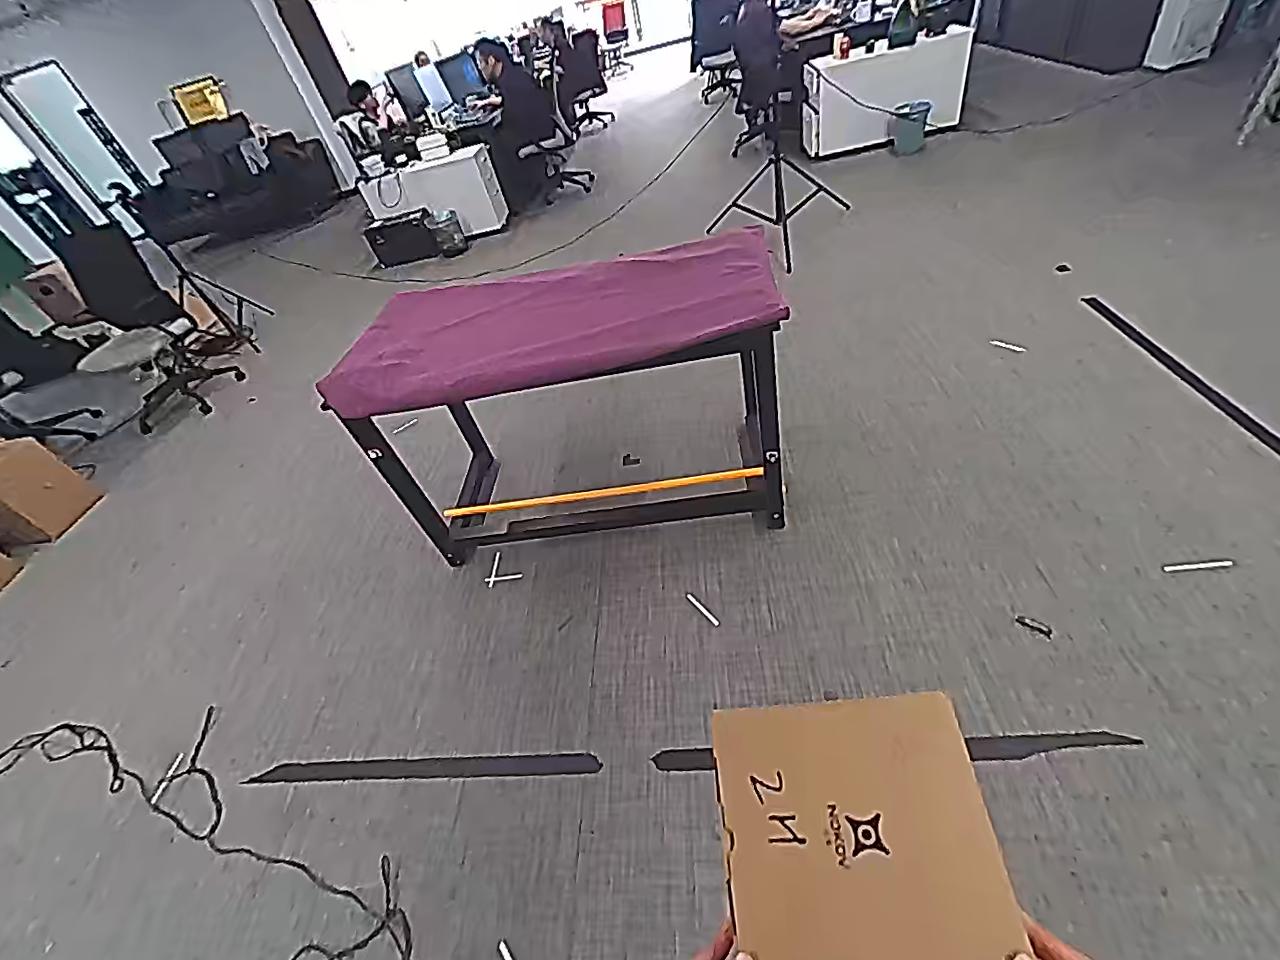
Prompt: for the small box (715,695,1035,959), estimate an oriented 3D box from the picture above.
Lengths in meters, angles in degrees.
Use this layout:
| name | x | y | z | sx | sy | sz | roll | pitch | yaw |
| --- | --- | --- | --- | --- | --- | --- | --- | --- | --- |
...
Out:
| name | x | y | z | sx | sy | sz | roll | pitch | yaw |
| --- | --- | --- | --- | --- | --- | --- | --- | --- | --- |
| small box | 0.160 | 0.274 | 0.431 | 0.179 | 0.176 | 0.168 | -8 | 58 | 9 |
